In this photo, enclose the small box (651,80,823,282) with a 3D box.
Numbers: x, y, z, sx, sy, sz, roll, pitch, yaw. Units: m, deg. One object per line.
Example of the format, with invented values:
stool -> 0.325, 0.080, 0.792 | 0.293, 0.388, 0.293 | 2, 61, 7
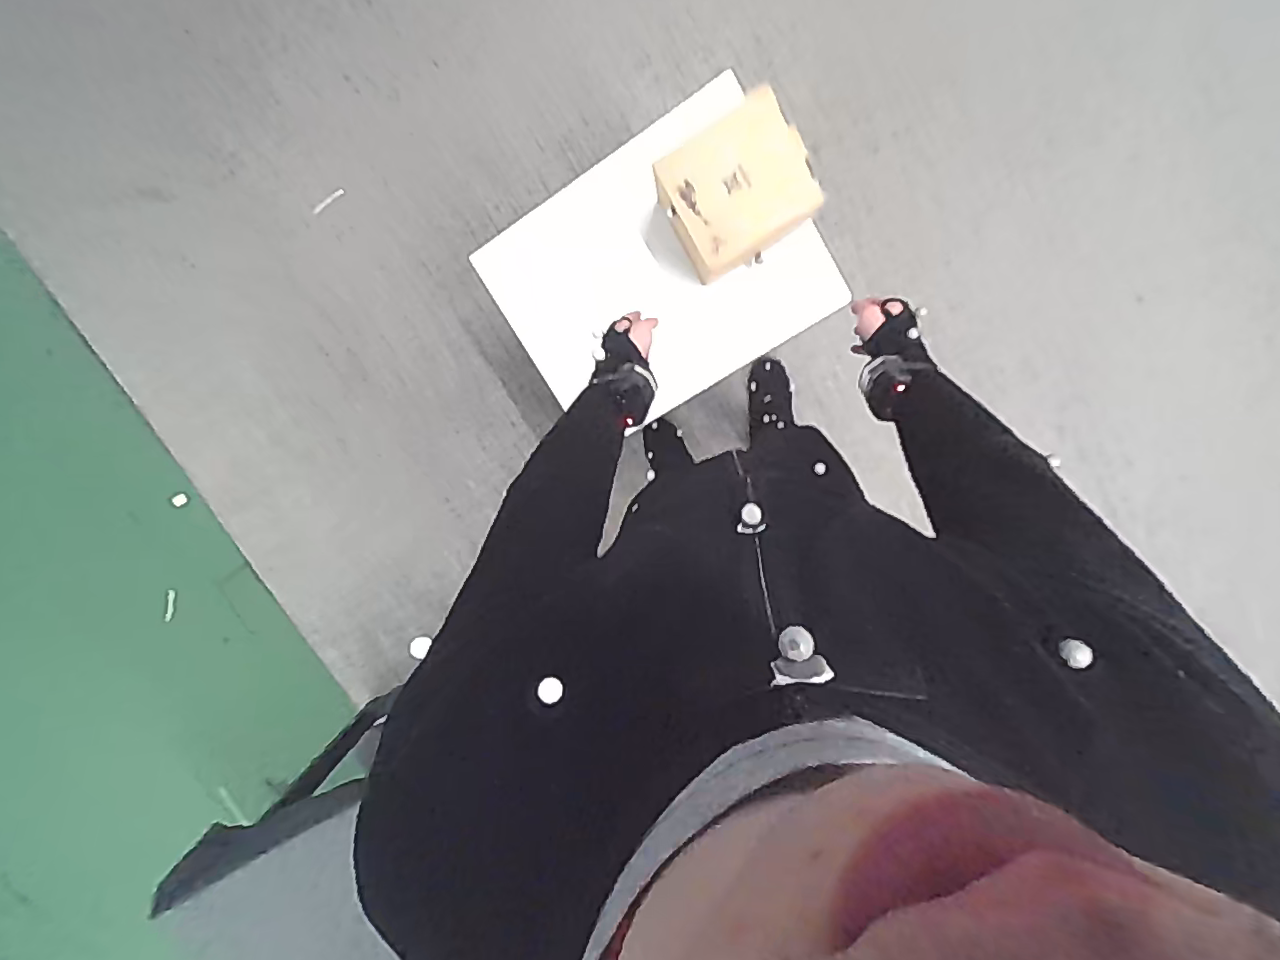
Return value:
small box -> 0.127, -0.409, 0.775 | 0.179, 0.176, 0.168 | -29, 99, 8
